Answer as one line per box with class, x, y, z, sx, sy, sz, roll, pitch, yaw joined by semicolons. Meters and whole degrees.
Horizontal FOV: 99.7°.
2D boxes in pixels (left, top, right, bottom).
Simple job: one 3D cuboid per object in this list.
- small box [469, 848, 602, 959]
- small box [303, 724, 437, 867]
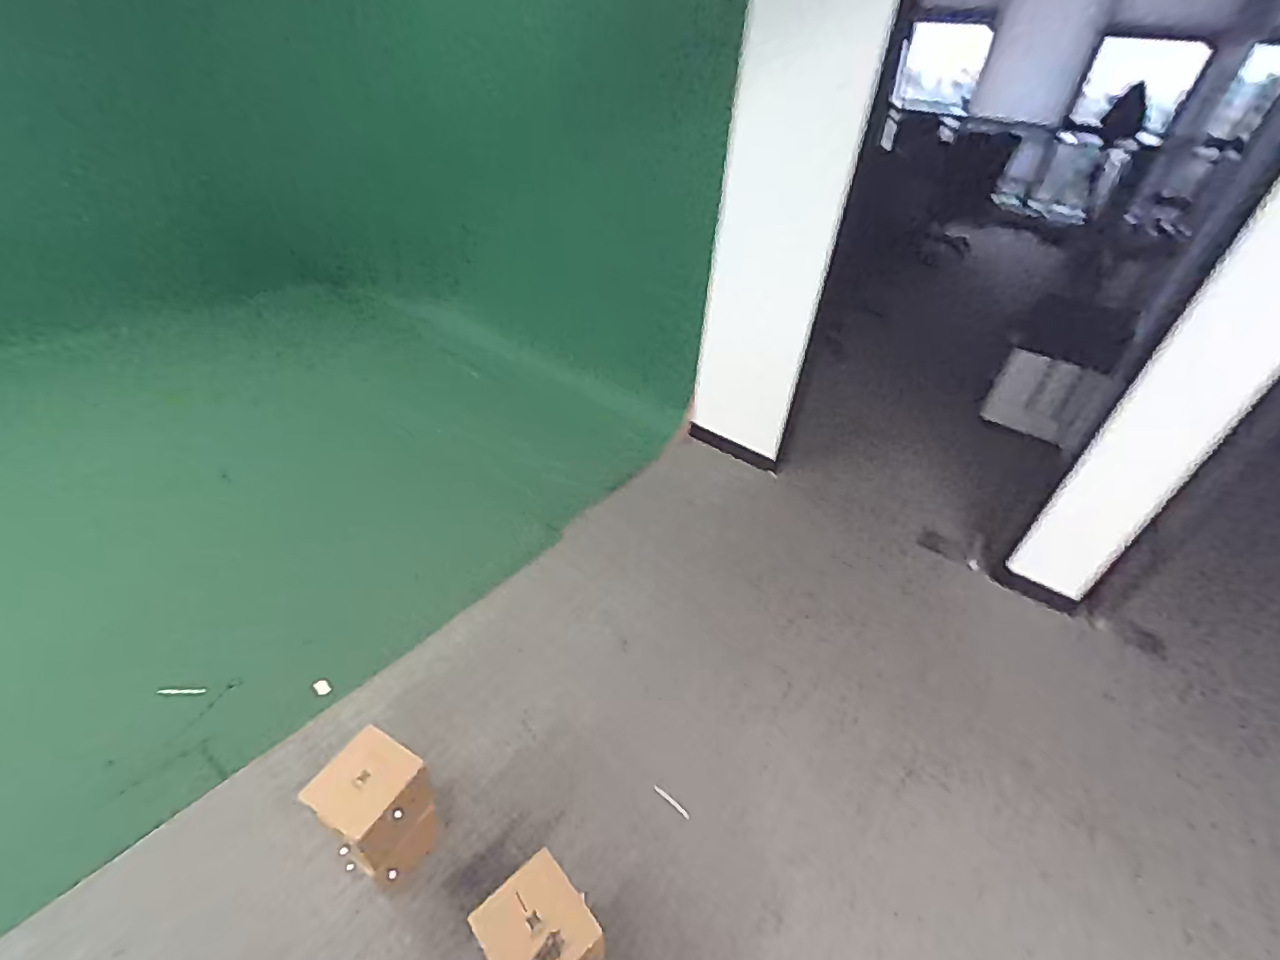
small box;-0.182;0.824;0.972;0.168;0.176;0.179;-27;47;-33
small box;-0.556;0.665;1.138;0.168;0.176;0.179;23;41;20
